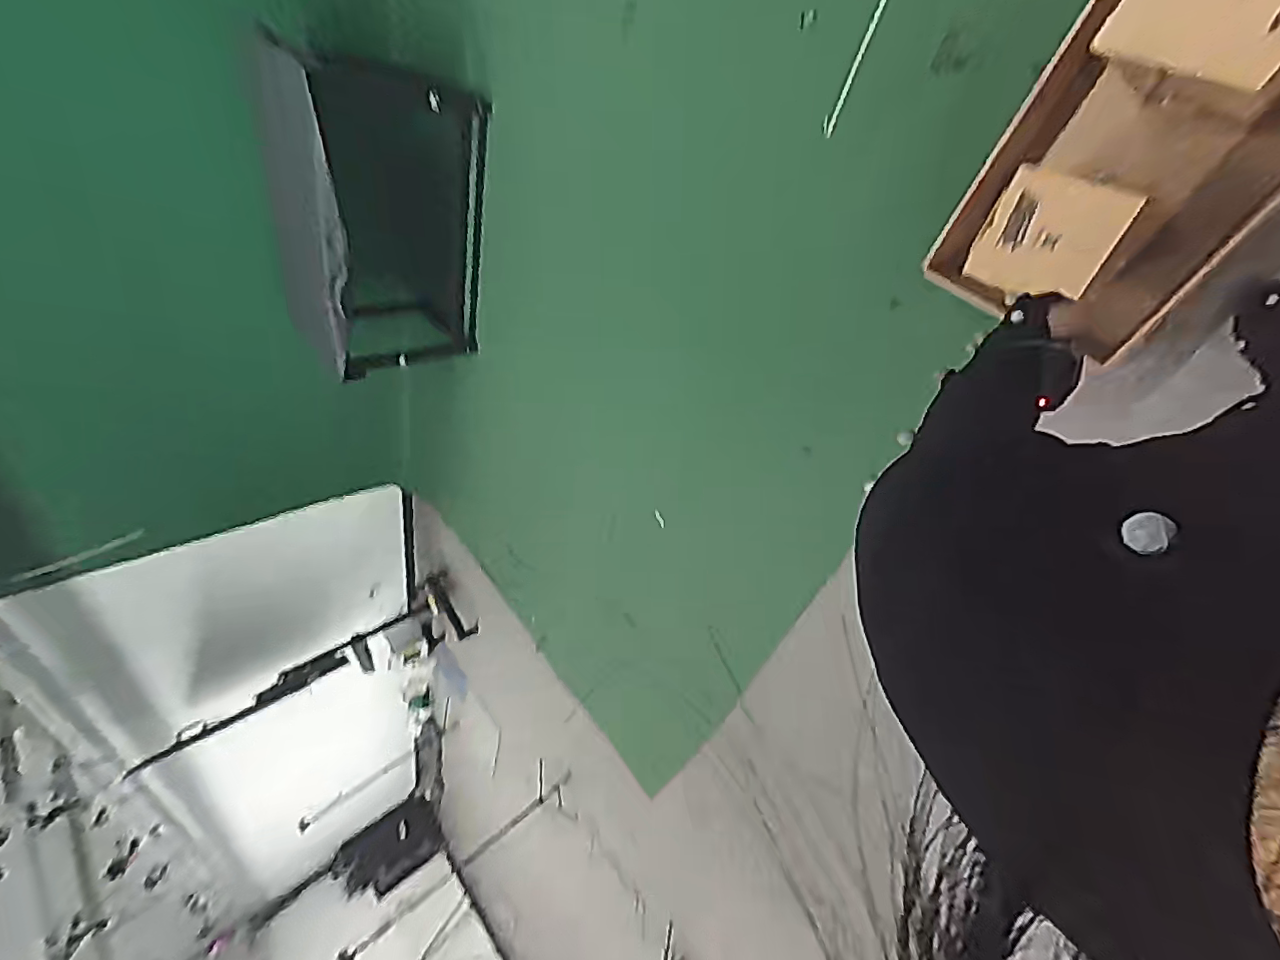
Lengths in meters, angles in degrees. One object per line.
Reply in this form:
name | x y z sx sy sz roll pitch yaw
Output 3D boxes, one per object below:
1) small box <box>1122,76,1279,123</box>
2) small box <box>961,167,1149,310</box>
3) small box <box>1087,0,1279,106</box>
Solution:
small box | 0.772 -0.588 0.700 0.179 0.176 0.168 44 136 23
small box | 0.679 -0.395 0.889 0.179 0.176 0.168 38 131 29
small box | 0.656 -0.537 0.595 0.179 0.176 0.168 44 136 27
